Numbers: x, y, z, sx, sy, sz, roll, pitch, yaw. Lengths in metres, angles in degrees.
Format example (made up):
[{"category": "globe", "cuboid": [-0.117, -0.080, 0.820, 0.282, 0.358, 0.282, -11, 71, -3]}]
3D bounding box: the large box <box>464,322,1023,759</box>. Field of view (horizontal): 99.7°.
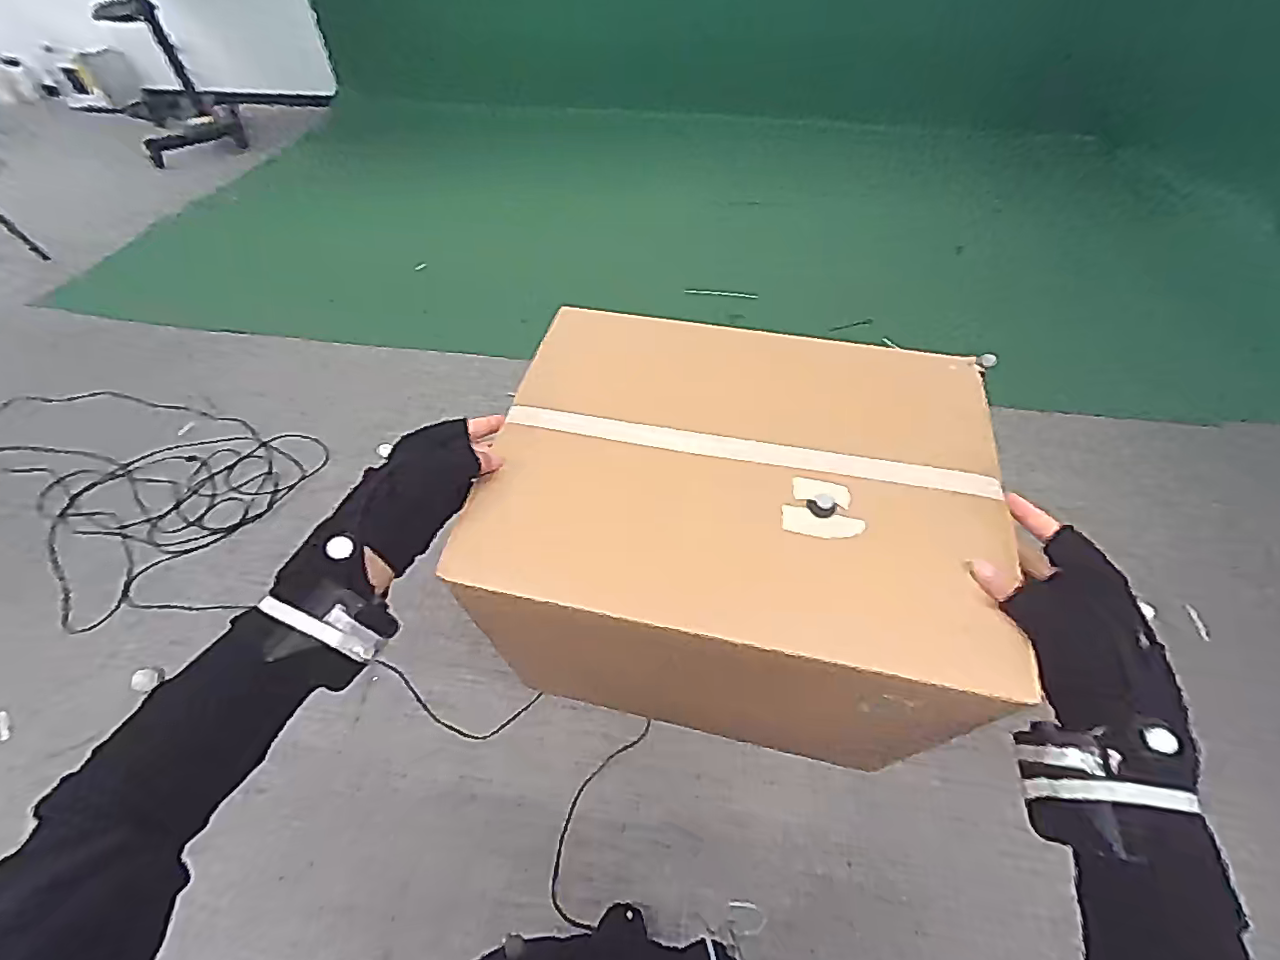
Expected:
[{"category": "large box", "cuboid": [0.090, 0.070, 0.583, 0.408, 0.320, 0.320, 10, 56, 8]}]
